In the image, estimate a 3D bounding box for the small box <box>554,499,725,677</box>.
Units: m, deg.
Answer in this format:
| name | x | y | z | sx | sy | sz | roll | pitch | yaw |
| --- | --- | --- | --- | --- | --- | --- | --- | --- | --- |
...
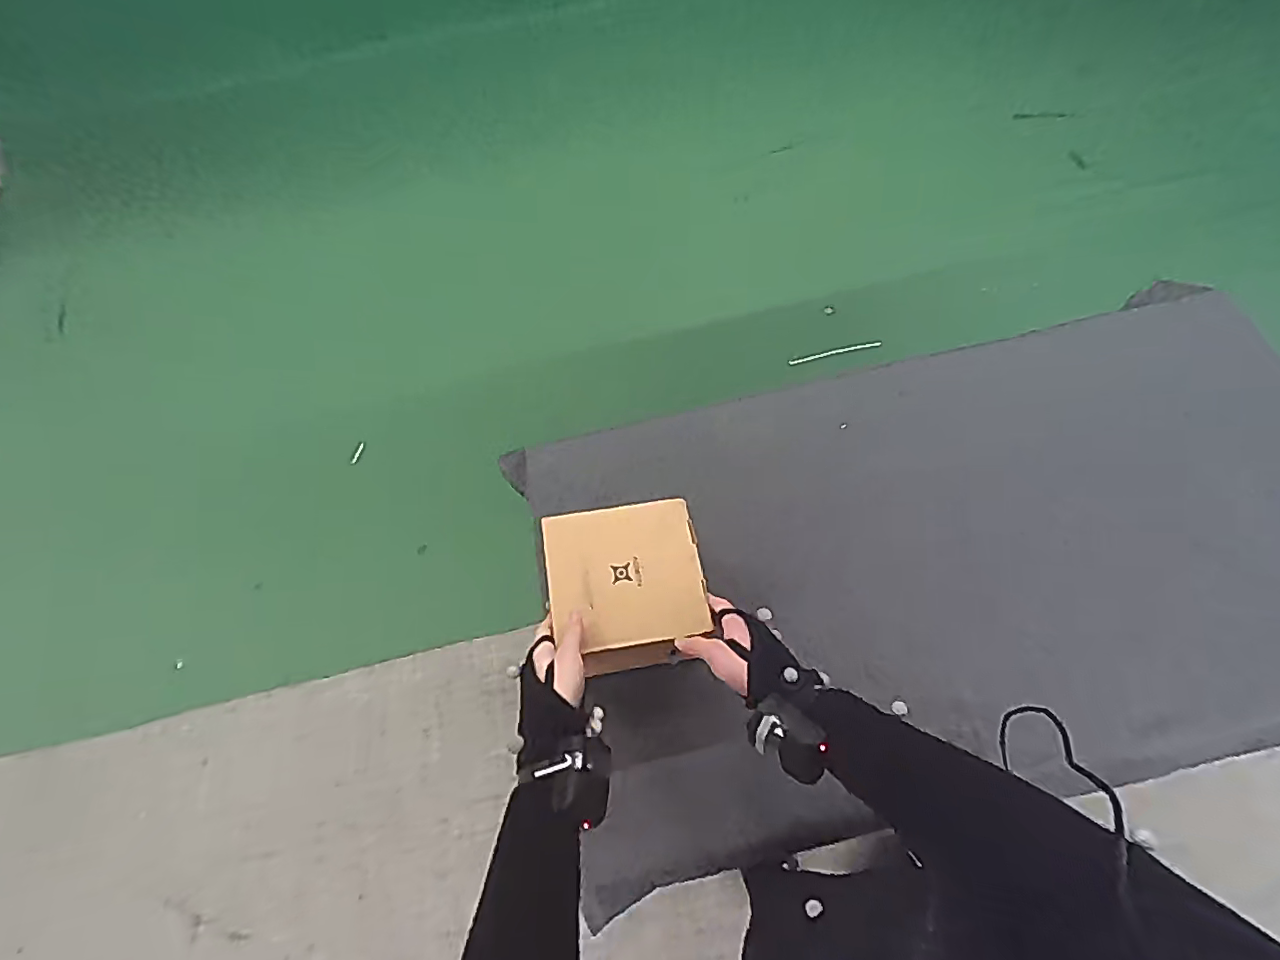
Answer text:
| name | x | y | z | sx | sy | sz | roll | pitch | yaw |
| --- | --- | --- | --- | --- | --- | --- | --- | --- | --- |
| small box | -0.008 | 0.140 | 0.673 | 0.179 | 0.176 | 0.168 | -7 | 62 | -5 |
